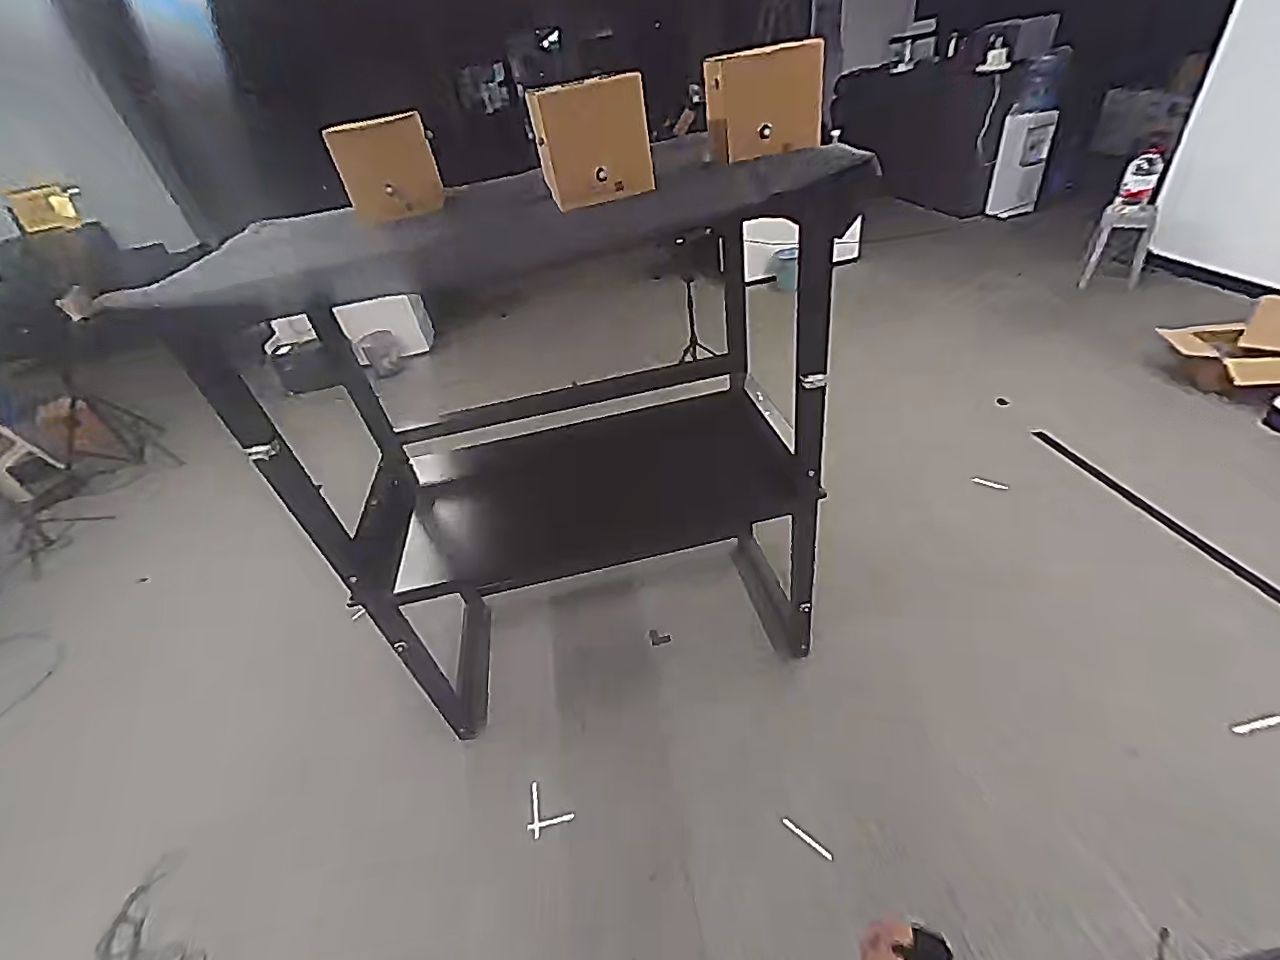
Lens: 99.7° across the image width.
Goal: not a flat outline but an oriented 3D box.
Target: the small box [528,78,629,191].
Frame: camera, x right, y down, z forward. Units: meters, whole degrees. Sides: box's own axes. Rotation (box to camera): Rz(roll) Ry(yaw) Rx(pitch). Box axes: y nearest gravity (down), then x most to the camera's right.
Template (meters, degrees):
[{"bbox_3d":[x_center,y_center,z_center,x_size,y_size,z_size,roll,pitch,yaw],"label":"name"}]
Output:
[{"bbox_3d":[-0.126,-0.709,1.115,0.168,0.176,0.179,-14,37,-5],"label":"small box"}]

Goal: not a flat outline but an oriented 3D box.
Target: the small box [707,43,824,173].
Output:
[{"bbox_3d":[0.221,-0.671,0.982,0.168,0.176,0.179,-10,38,1],"label":"small box"}]

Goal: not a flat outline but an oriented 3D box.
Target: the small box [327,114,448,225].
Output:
[{"bbox_3d":[-0.513,-0.646,1.127,0.168,0.176,0.179,-15,39,-5],"label":"small box"}]
